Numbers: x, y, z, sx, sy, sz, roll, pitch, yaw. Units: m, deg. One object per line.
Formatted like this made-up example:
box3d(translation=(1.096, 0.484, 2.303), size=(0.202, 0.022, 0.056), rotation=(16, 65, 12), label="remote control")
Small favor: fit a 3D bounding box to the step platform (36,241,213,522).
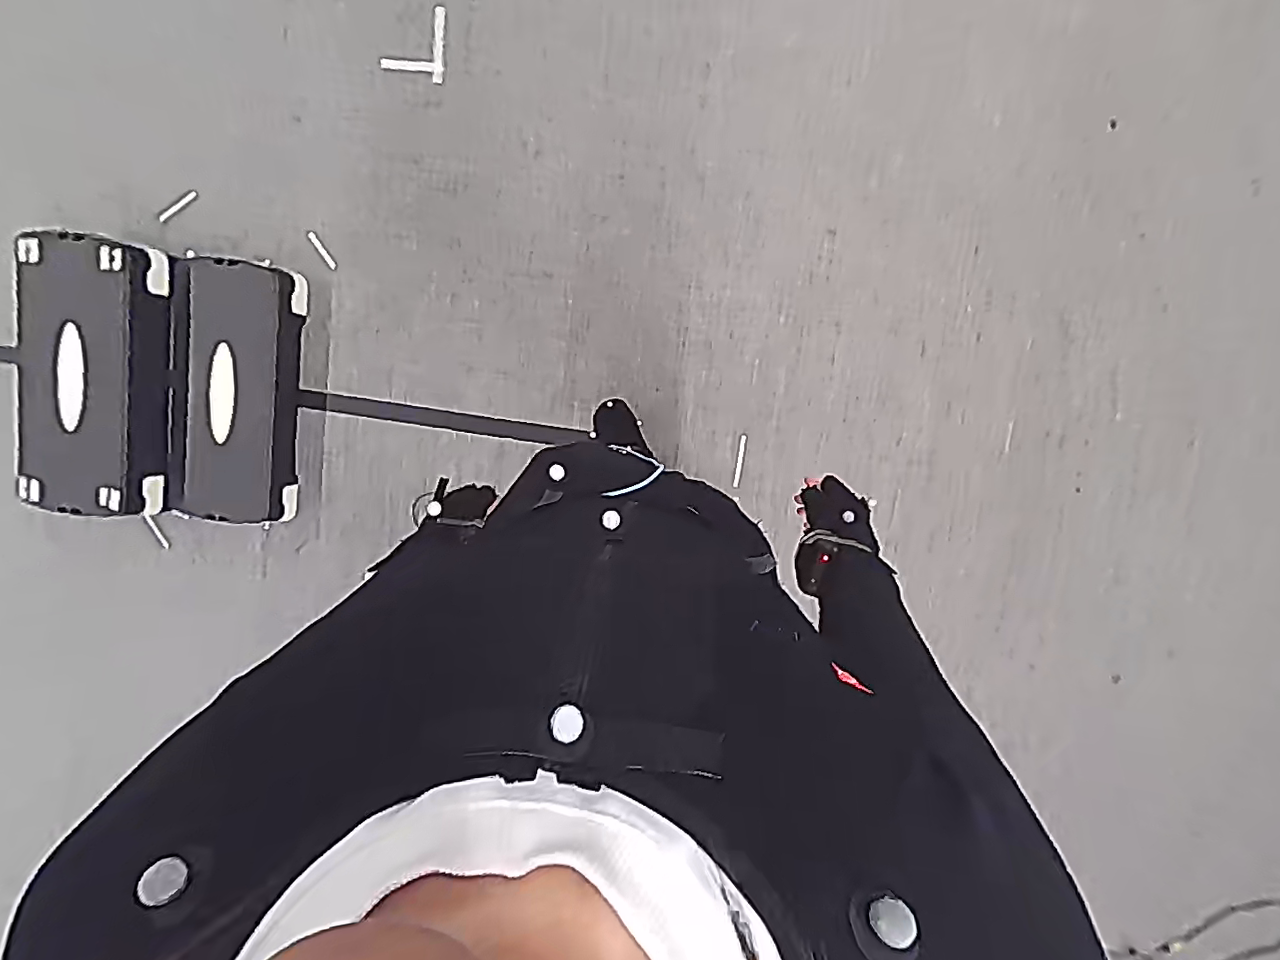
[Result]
box3d(translation=(-1.305, -0.234, 1.374), size=(0.286, 0.204, 0.684), rotation=(7, 96, 1), label="step platform")
